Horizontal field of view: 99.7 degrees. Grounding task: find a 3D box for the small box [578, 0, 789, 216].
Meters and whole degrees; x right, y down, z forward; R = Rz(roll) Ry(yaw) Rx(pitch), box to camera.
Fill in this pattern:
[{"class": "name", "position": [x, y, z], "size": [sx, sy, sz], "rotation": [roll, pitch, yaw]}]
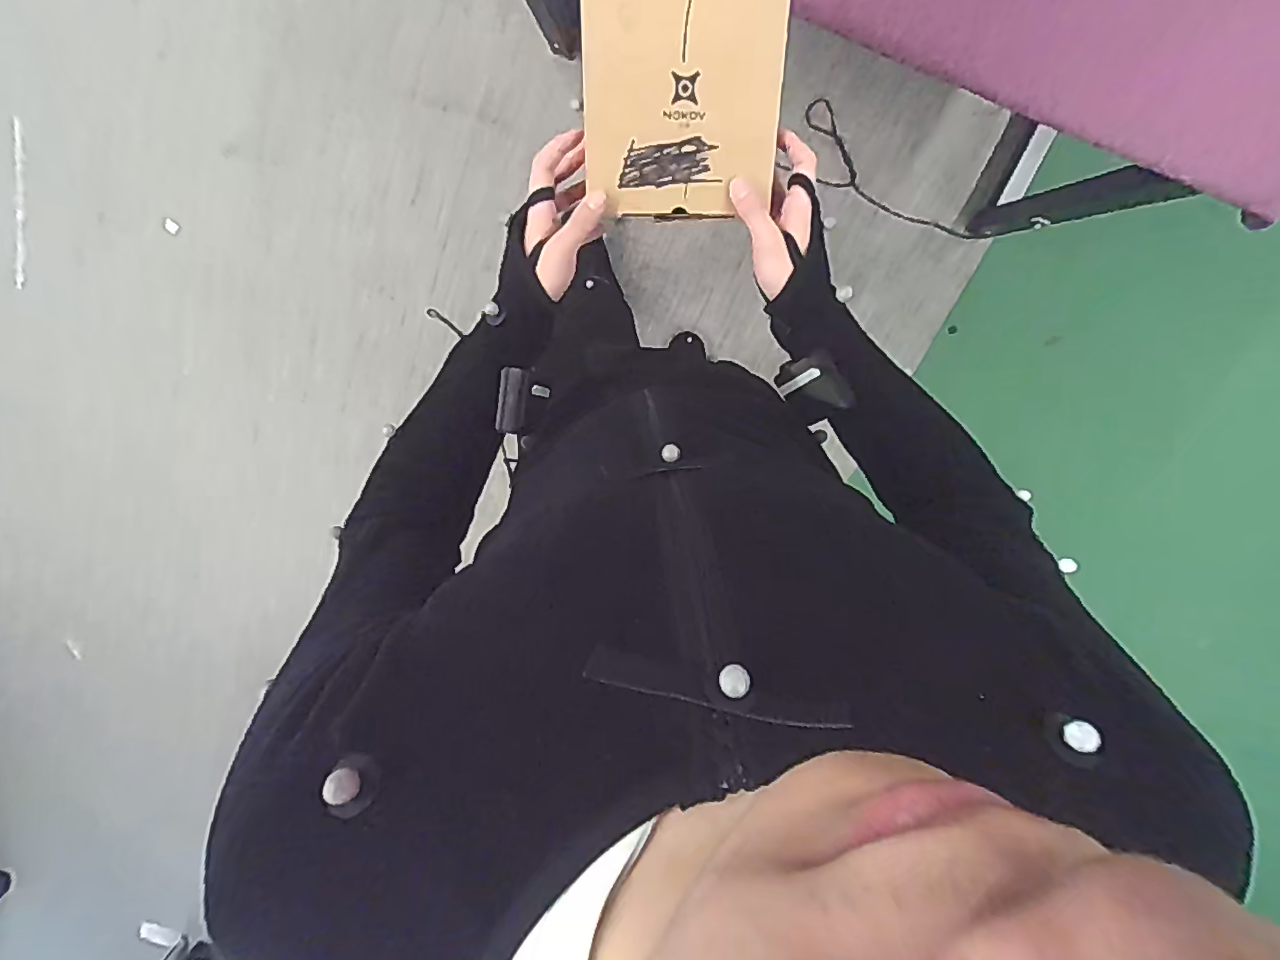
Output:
[{"class": "small box", "position": [0.028, -0.351, 0.512], "size": [0.168, 0.176, 0.179], "rotation": [0, 114, -4]}]
